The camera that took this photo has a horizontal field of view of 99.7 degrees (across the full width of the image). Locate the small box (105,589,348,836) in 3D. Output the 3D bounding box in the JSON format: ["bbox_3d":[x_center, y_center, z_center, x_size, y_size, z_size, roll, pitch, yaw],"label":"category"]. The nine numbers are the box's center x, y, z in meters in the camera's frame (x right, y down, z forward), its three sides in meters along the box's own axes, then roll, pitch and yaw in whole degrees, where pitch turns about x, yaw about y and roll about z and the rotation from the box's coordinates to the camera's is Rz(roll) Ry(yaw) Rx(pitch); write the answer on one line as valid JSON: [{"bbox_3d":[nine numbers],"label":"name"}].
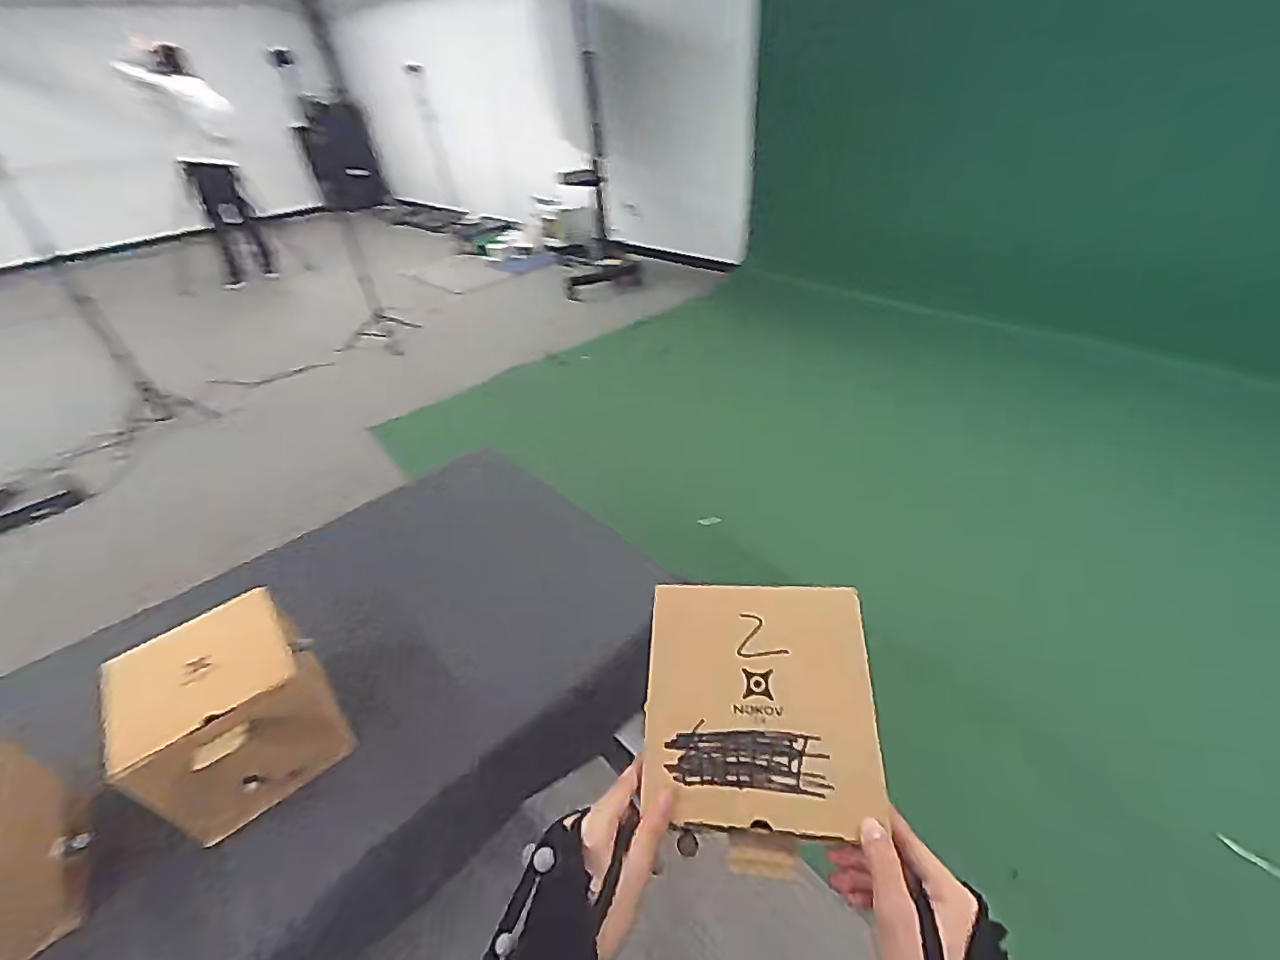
[{"bbox_3d":[-0.484,0.272,0.645,0.168,0.176,0.179,-31,44,-30],"label":"small box"}]
